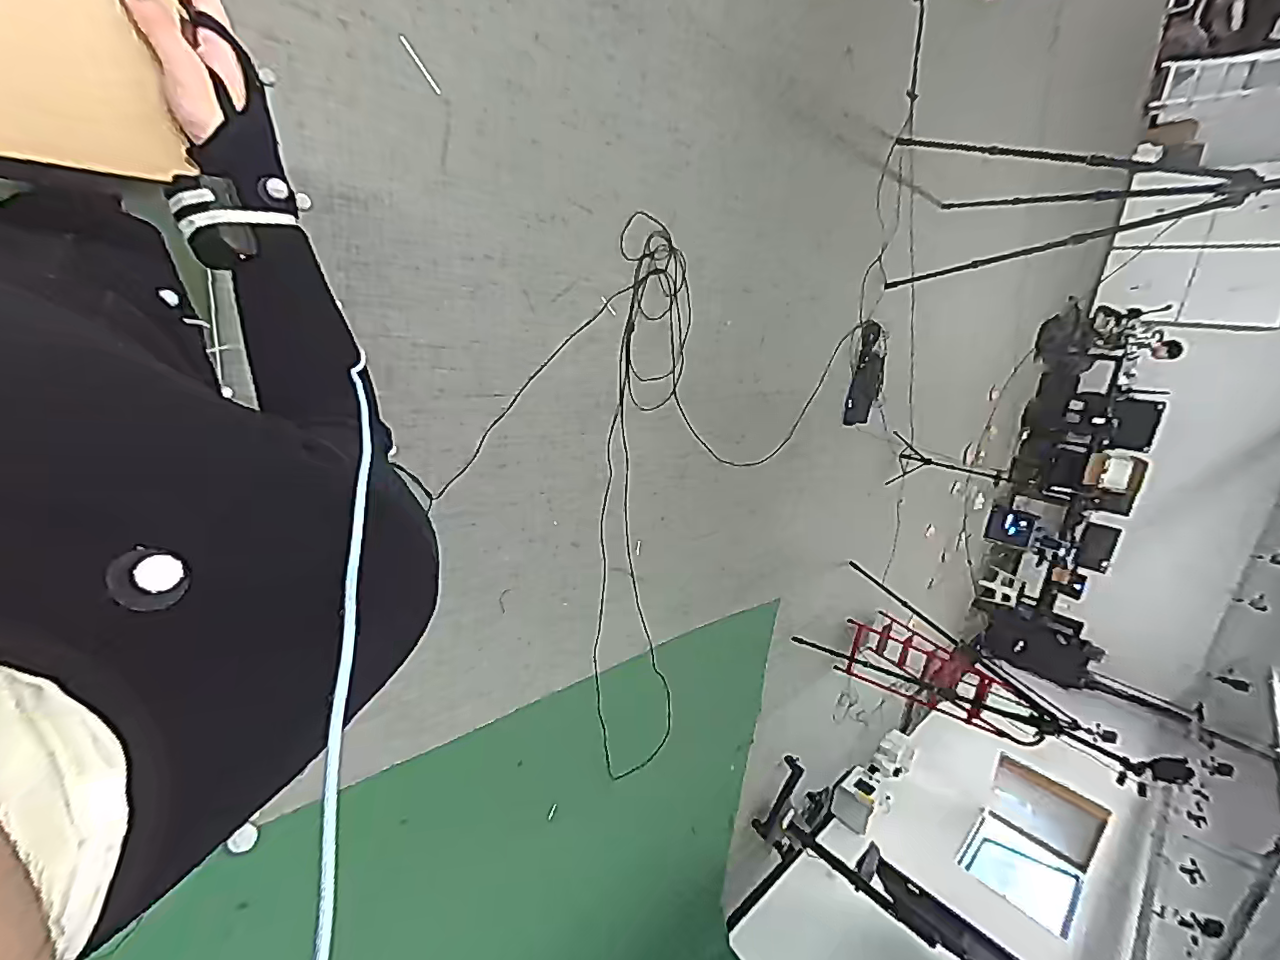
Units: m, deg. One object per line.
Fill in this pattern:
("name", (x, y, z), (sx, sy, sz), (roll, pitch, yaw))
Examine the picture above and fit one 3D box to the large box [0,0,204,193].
("large box", (-0.599, -0.400, 0.359), (0.408, 0.320, 0.320), (-15, 118, -45))
